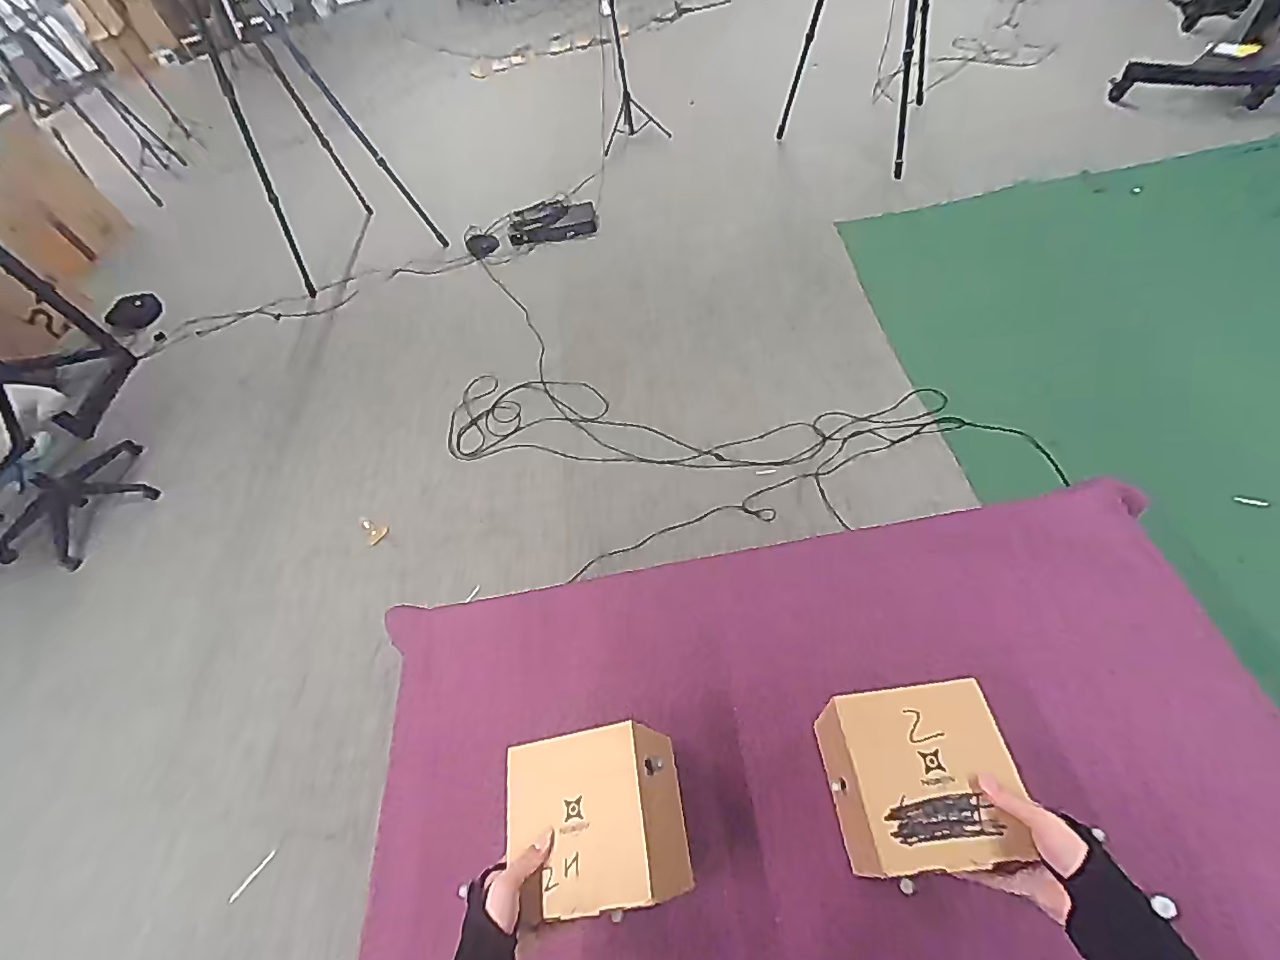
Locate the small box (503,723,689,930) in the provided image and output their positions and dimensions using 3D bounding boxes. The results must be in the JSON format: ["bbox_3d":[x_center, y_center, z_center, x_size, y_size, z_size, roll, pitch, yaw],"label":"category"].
[{"bbox_3d":[-0.049,0.413,0.653,0.168,0.176,0.179,-17,55,11],"label":"small box"}]
